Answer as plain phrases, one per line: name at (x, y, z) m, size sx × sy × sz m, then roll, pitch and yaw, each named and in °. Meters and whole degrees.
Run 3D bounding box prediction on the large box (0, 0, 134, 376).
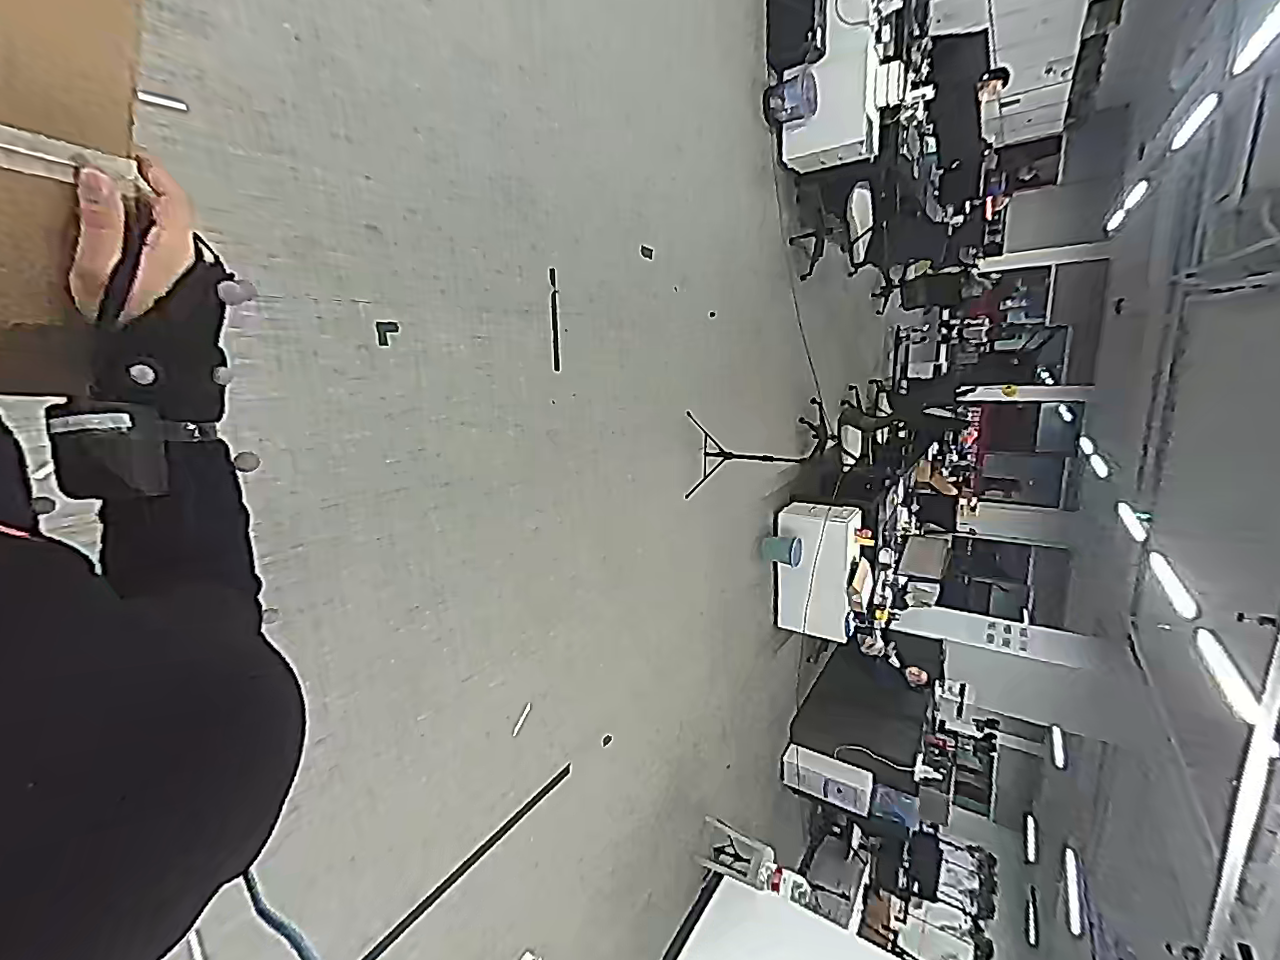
large box at (-0.529, -0.263, 0.231) m, size 0.408 × 0.320 × 0.320 m, roll -10°, pitch 139°, yaw -53°
